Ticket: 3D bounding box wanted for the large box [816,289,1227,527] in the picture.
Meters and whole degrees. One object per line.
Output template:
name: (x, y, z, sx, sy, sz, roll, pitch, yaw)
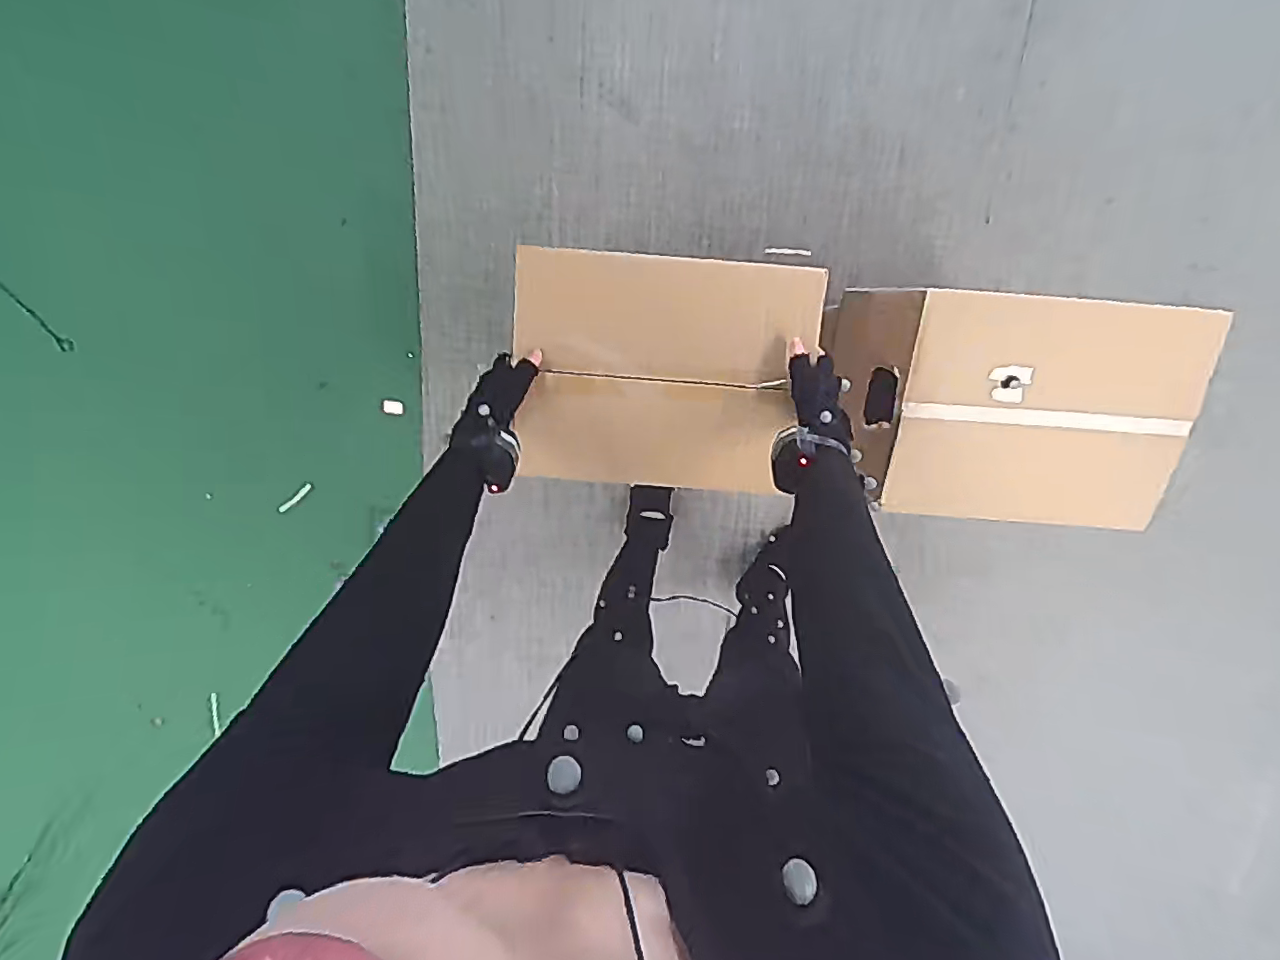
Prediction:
large box: (0.549, -0.137, 0.880, 0.408, 0.320, 0.320, 4, 109, 0)
